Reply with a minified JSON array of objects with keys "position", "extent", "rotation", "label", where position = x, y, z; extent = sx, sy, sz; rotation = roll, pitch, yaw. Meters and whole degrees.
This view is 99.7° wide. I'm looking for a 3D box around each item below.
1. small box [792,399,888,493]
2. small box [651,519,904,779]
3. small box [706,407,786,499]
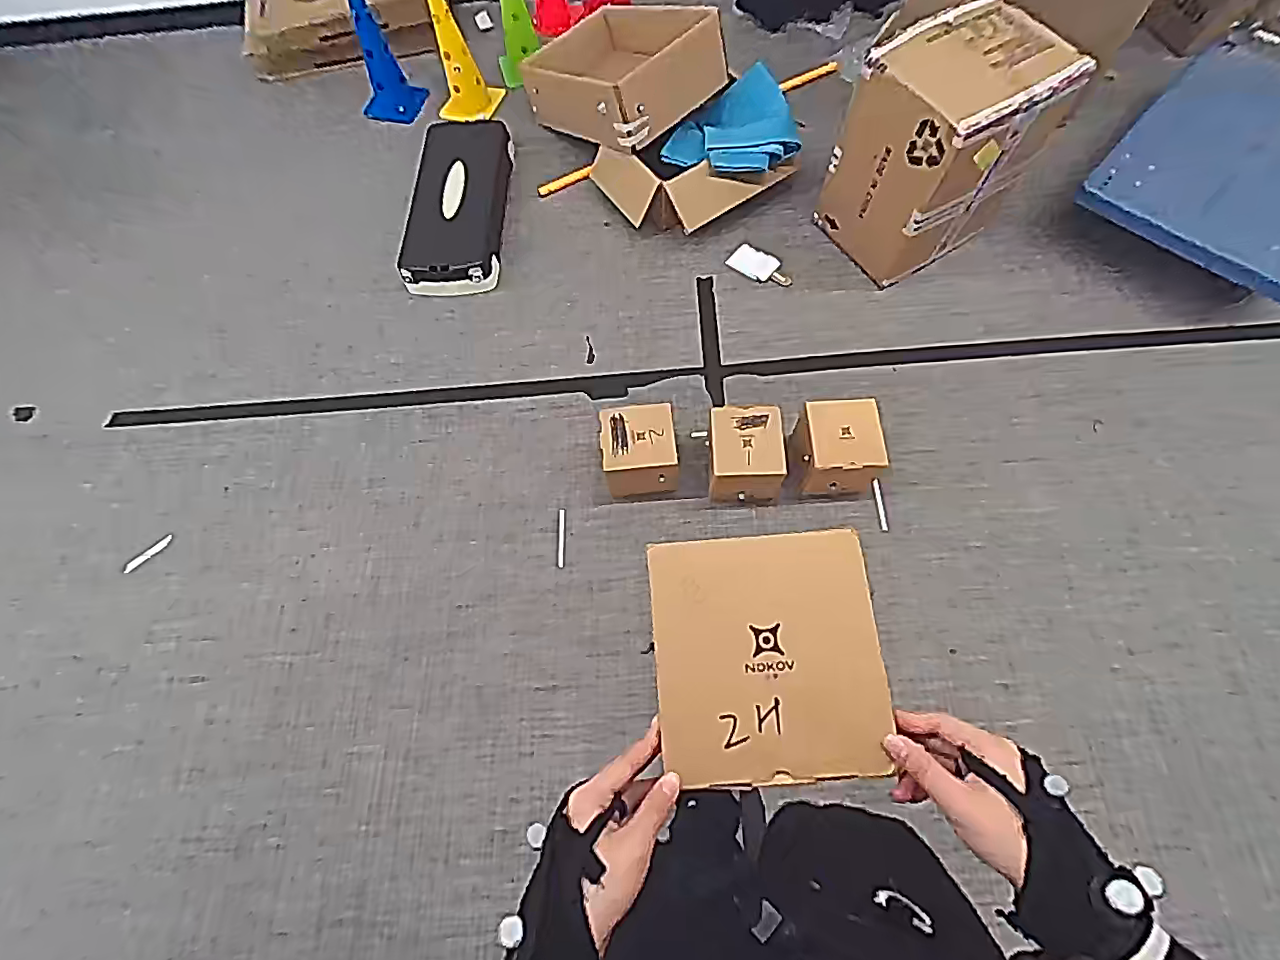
[{"position":[0.478,-0.080,1.321],"extent":[0.168,0.176,0.179],"rotation":[-3,68,1],"label":"small box"},{"position":[0.097,0.142,0.467],"extent":[0.168,0.176,0.179],"rotation":[-5,72,2],"label":"small box"},{"position":[0.252,-0.063,1.323],"extent":[0.168,0.176,0.179],"rotation":[-1,69,3],"label":"small box"}]
